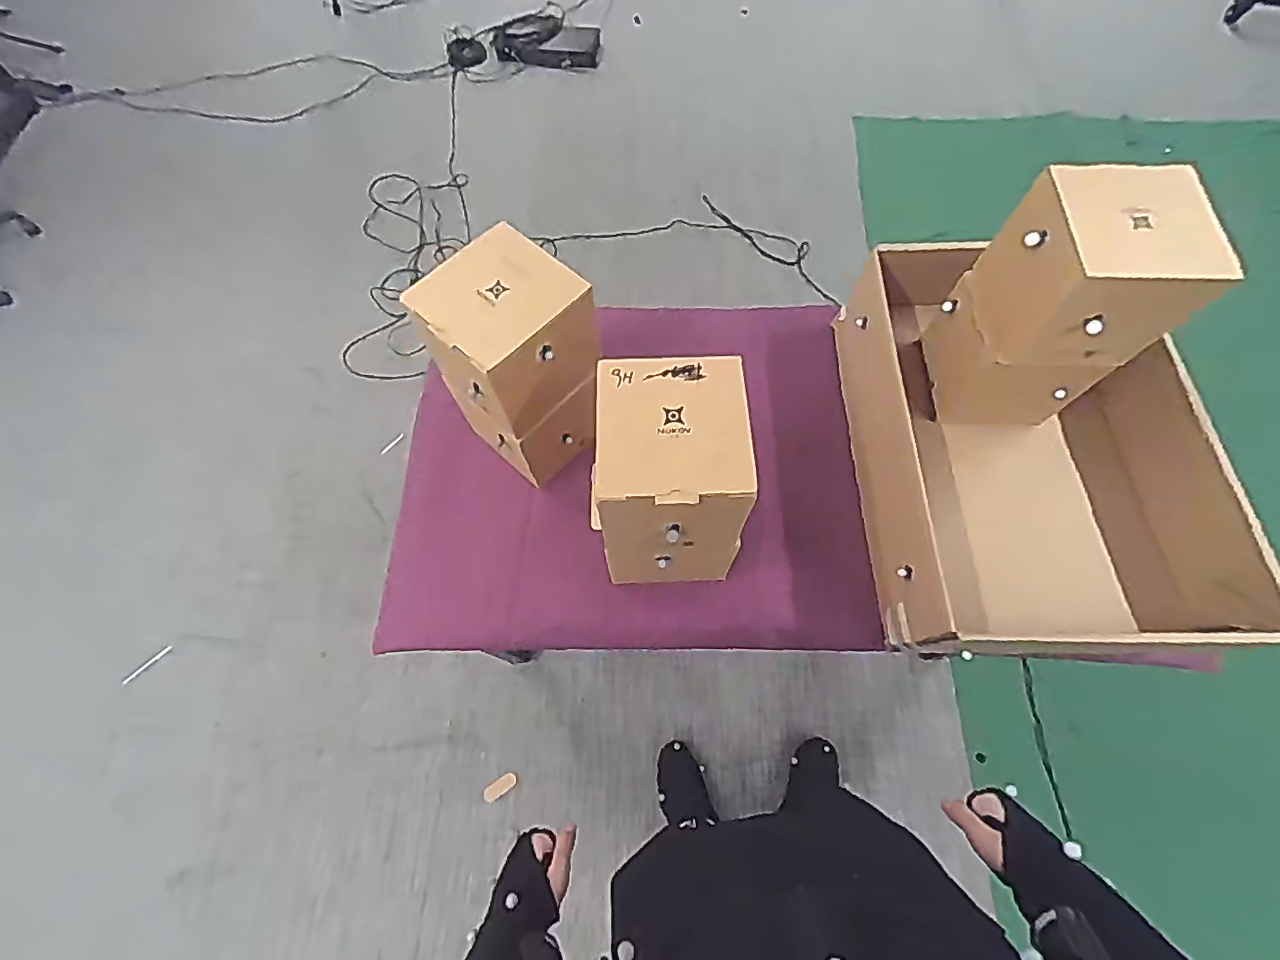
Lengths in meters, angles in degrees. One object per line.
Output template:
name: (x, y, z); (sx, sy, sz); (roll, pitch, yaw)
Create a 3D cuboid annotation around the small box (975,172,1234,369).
small box: (0.565, -0.258, 0.690); (0.168, 0.176, 0.179); (2, 67, 3)

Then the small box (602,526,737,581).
small box: (0.039, 0.049, 0.796); (0.179, 0.176, 0.168); (-2, 65, 0)

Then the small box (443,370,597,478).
small box: (-0.178, -0.125, 0.878); (0.179, 0.176, 0.168); (40, 72, 16)

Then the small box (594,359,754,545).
small box: (0.036, -0.024, 0.650); (0.168, 0.176, 0.179); (-1, 66, 0)

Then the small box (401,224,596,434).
small box: (-0.174, -0.194, 0.730); (0.168, 0.176, 0.179); (41, 72, 15)
